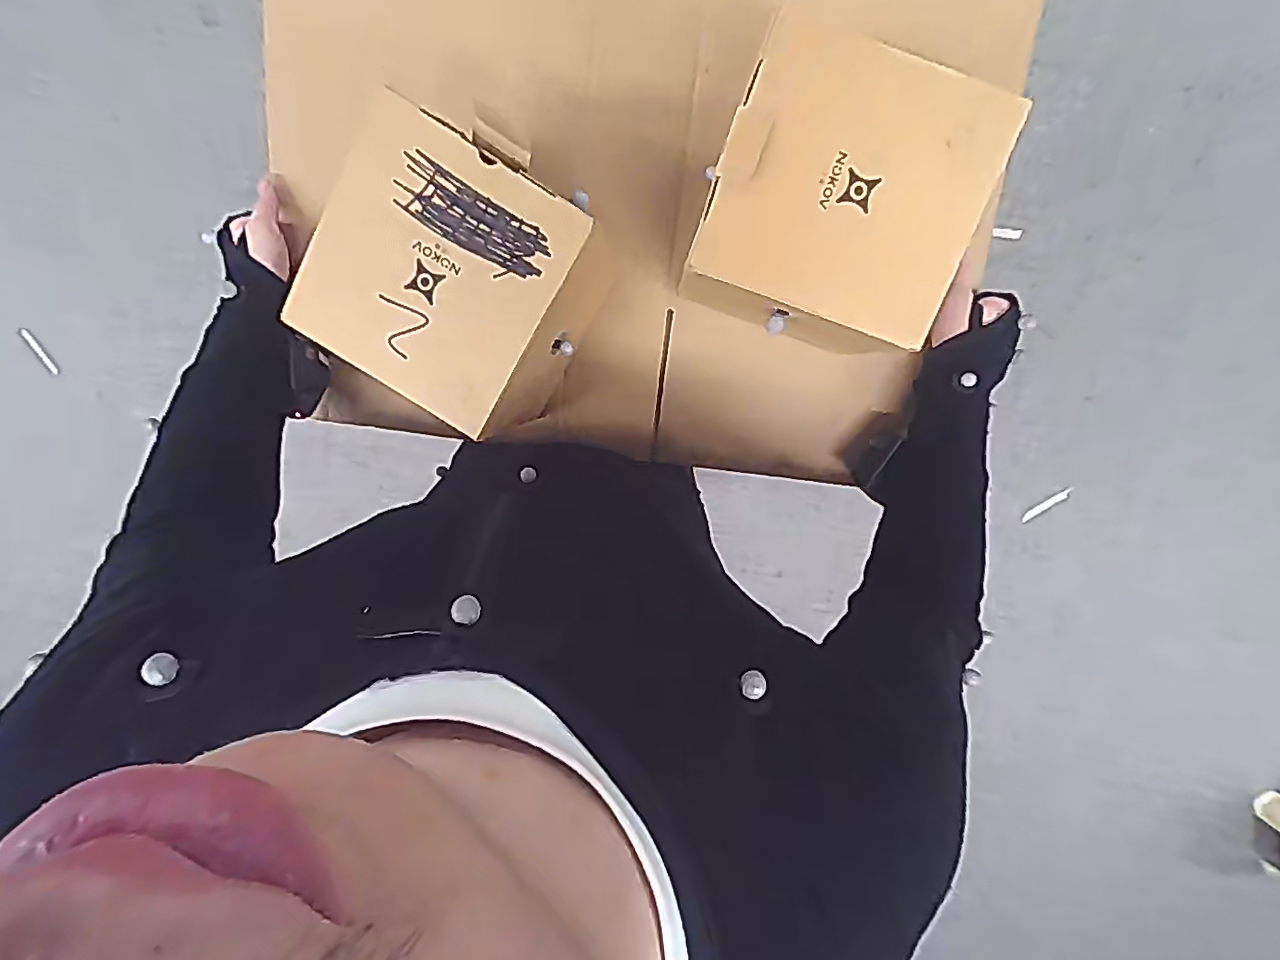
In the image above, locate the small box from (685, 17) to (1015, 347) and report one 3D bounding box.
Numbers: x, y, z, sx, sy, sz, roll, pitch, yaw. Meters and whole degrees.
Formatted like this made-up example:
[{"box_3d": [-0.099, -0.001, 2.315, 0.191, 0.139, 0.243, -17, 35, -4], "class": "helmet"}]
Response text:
[{"box_3d": [0.146, -0.218, 0.450, 0.179, 0.176, 0.168, 20, 102, 0], "class": "small box"}]
